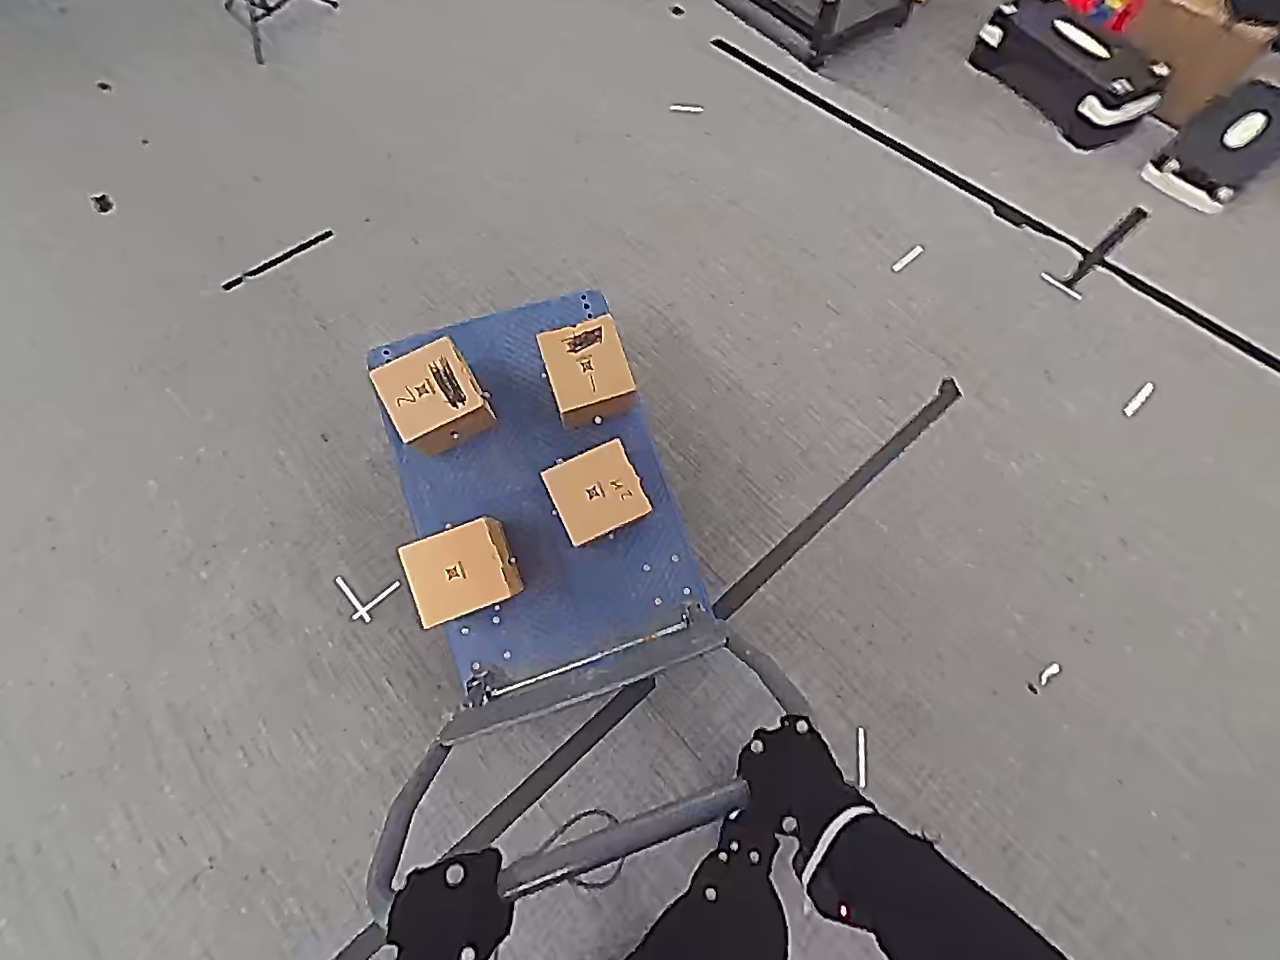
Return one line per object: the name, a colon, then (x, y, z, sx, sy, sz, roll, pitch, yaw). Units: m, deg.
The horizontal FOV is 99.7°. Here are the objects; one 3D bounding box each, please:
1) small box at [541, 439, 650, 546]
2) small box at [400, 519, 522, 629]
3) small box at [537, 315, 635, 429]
small box: (-0.092, 0.035, 1.158, 0.179, 0.176, 0.168, -25, 85, -7)
small box: (-0.360, 0.192, 1.119, 0.179, 0.176, 0.168, -21, 84, -8)
small box: (-0.119, -0.231, 1.193, 0.168, 0.176, 0.179, -18, 85, -6)
